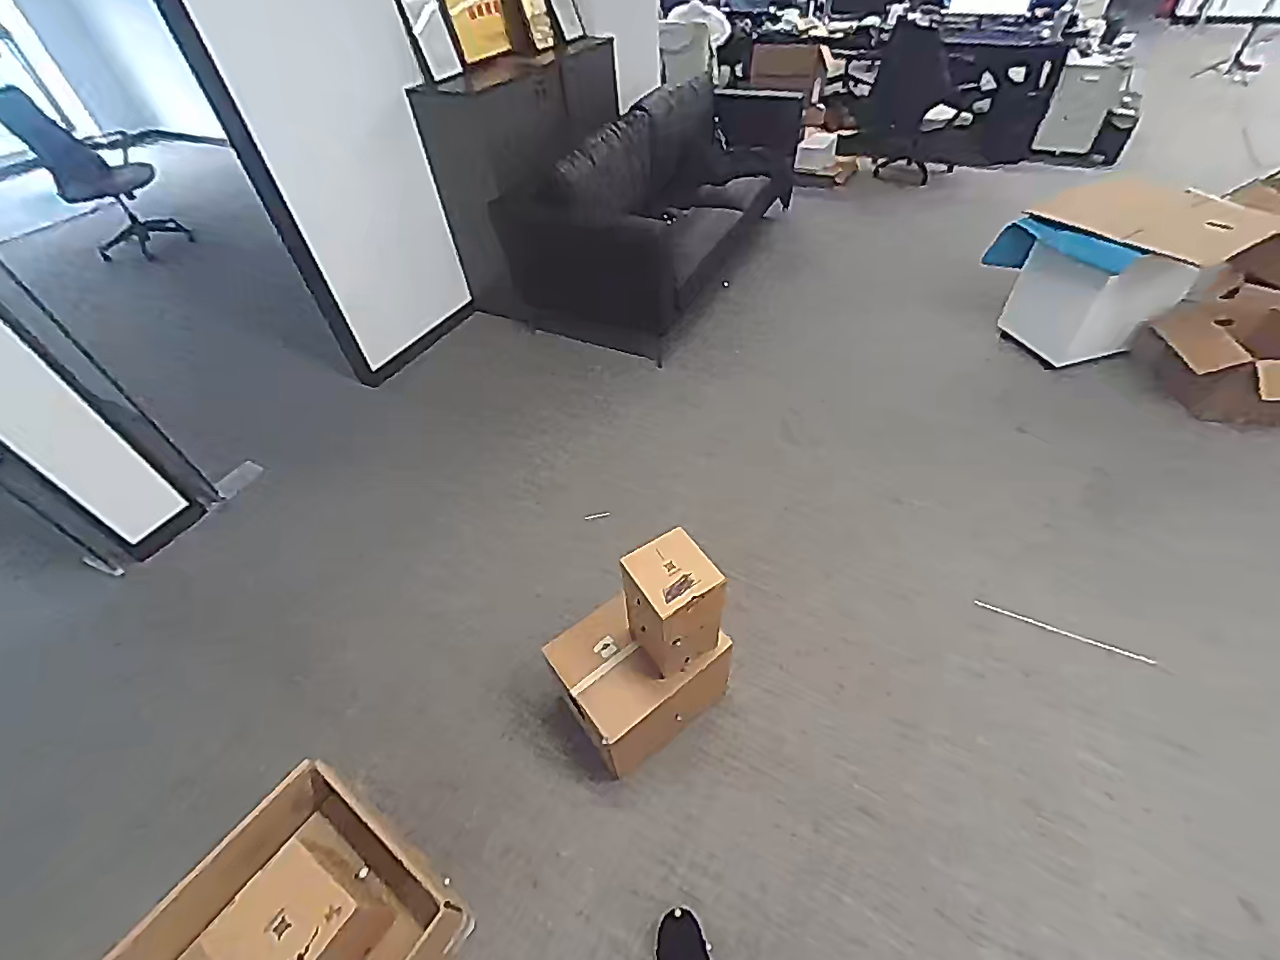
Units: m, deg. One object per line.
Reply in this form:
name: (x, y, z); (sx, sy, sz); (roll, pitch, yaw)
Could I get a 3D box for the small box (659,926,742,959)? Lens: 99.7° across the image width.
small box: (0.116, 1.082, 1.129); (0.168, 0.176, 0.179); (8, 47, 21)

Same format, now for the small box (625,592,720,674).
small box: (0.078, 0.345, 1.344); (0.168, 0.176, 0.179); (-27, 53, -18)

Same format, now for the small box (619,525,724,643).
small box: (0.071, 0.242, 1.218); (0.168, 0.176, 0.179); (-27, 52, -18)

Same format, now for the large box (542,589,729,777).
large box: (-0.002, 0.531, 1.513); (0.408, 0.320, 0.320); (-33, 53, -22)
